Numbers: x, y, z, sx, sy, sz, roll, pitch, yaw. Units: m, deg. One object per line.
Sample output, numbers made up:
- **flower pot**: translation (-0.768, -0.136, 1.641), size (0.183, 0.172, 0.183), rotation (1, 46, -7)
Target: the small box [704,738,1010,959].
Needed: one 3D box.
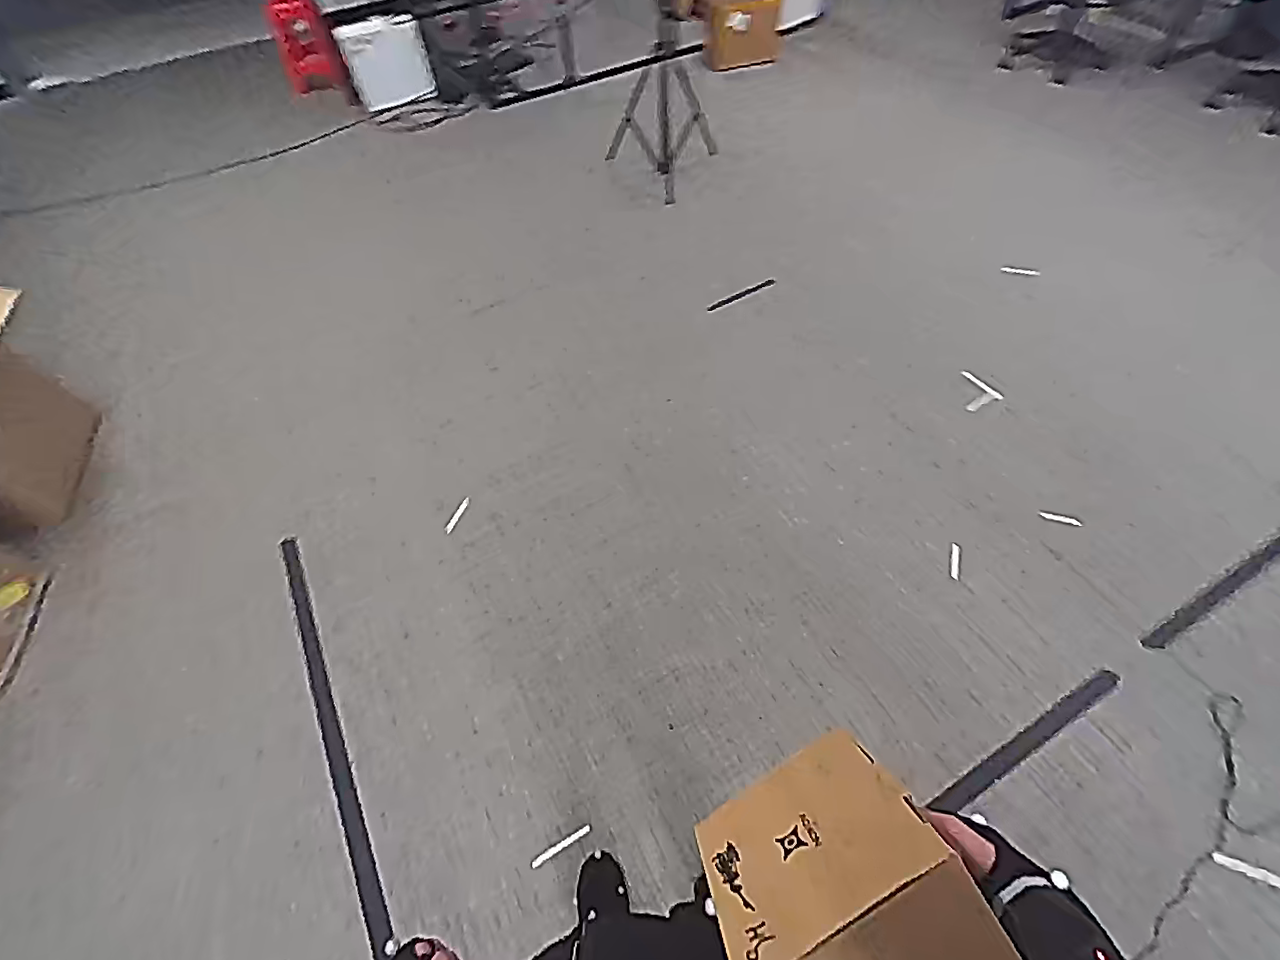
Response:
- **small box**: translation (0.182, 0.372, 0.460), size (0.179, 0.168, 0.176), rotation (-31, 95, -2)
